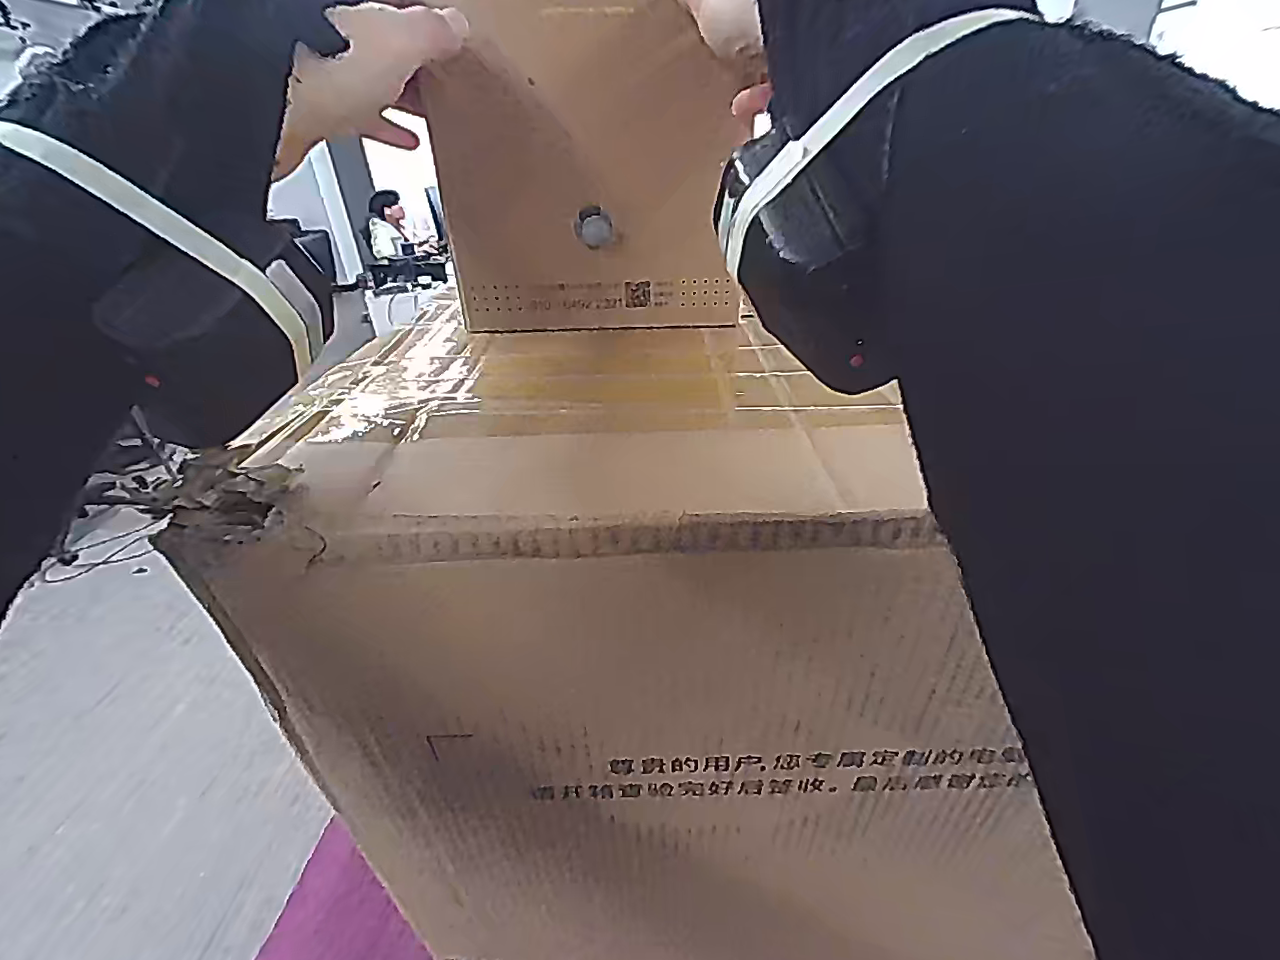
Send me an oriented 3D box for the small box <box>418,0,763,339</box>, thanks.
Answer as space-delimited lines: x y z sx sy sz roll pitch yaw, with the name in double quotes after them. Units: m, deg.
-0.023 -0.201 0.361 0.168 0.176 0.179 -2 33 0 "small box"
